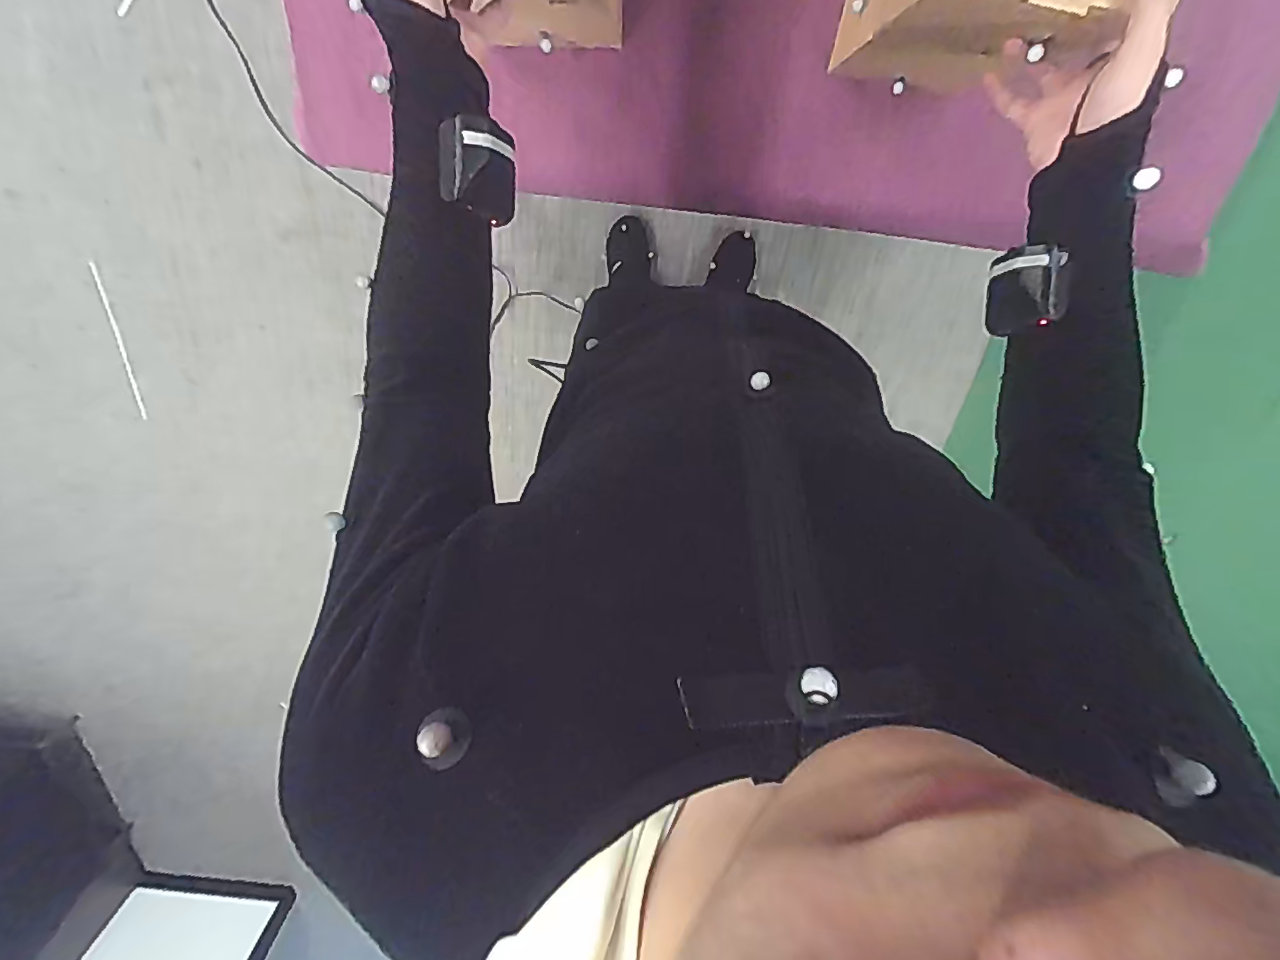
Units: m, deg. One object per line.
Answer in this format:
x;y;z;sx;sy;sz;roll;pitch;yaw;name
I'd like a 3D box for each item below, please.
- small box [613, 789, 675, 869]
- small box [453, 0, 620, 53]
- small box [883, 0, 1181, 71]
0.014;1.203;1.870;0.179;0.176;0.168;13;117;-5;small box
-0.106;-0.568;0.549;0.168;0.176;0.179;3;117;1;small box
0.311;-0.442;0.410;0.168;0.176;0.179;10;118;-3;small box
